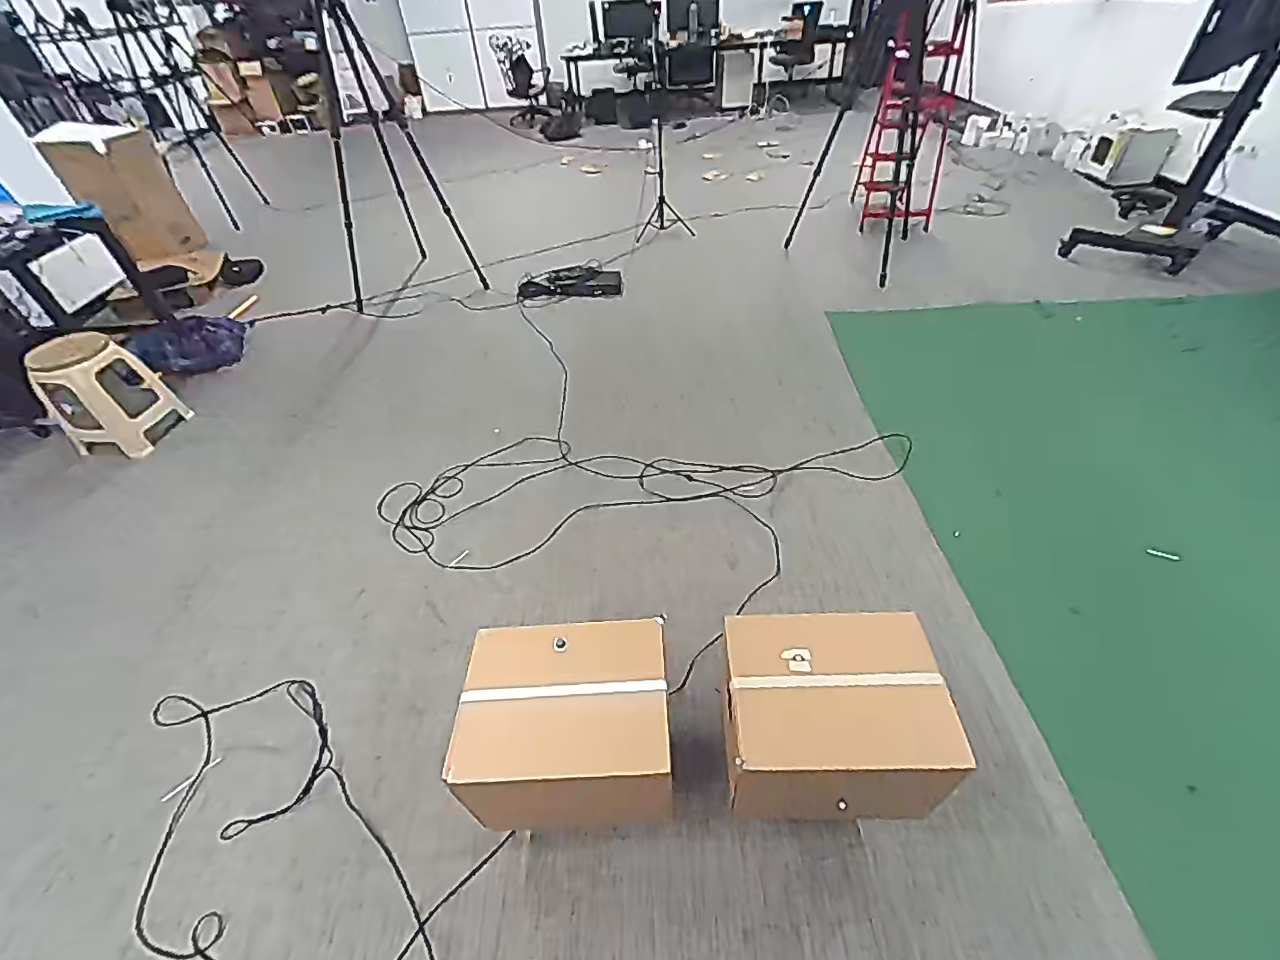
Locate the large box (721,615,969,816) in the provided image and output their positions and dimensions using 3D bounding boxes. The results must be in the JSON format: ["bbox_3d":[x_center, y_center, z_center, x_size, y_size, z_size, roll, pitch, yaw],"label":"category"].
[{"bbox_3d":[0.393,0.510,1.163,0.408,0.320,0.320,-2,43,4],"label":"large box"}]
